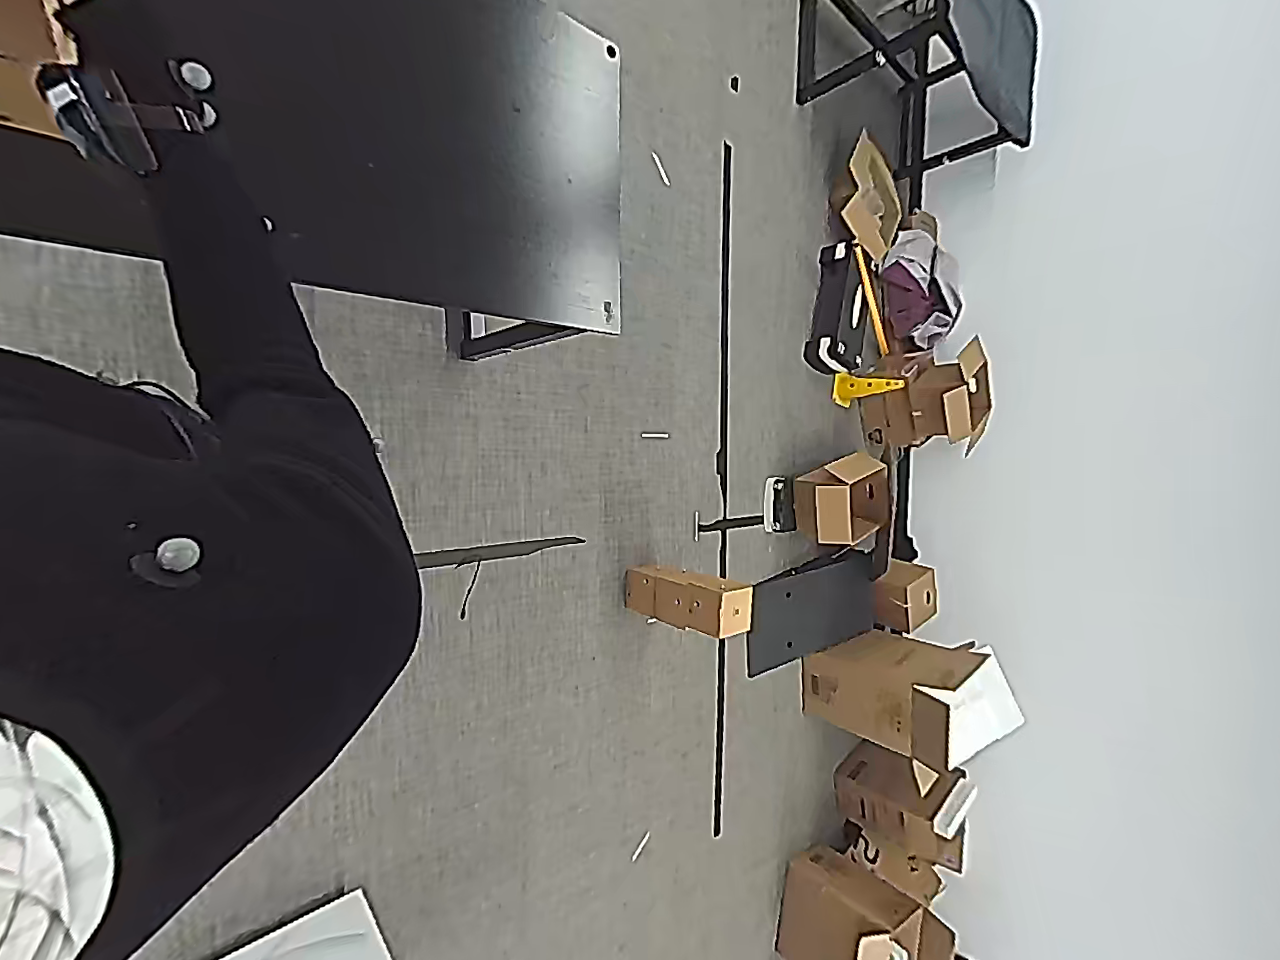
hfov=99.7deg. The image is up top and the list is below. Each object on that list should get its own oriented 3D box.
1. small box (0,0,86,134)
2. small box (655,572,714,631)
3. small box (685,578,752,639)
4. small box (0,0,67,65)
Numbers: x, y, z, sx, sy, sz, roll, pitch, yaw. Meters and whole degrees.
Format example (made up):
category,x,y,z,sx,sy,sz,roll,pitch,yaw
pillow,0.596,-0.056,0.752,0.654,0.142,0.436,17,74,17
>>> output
category,x,y,z,sx,sy,sz,roll,pitch,yaw
small box,-0.662,-0.473,0.518,0.168,0.176,0.179,-6,98,-41
small box,0.173,0.462,2.092,0.168,0.176,0.179,-3,97,-42
small box,0.286,0.463,1.975,0.179,0.176,0.168,0,95,-41
small box,-0.553,-0.465,0.394,0.168,0.176,0.179,-5,97,-41
